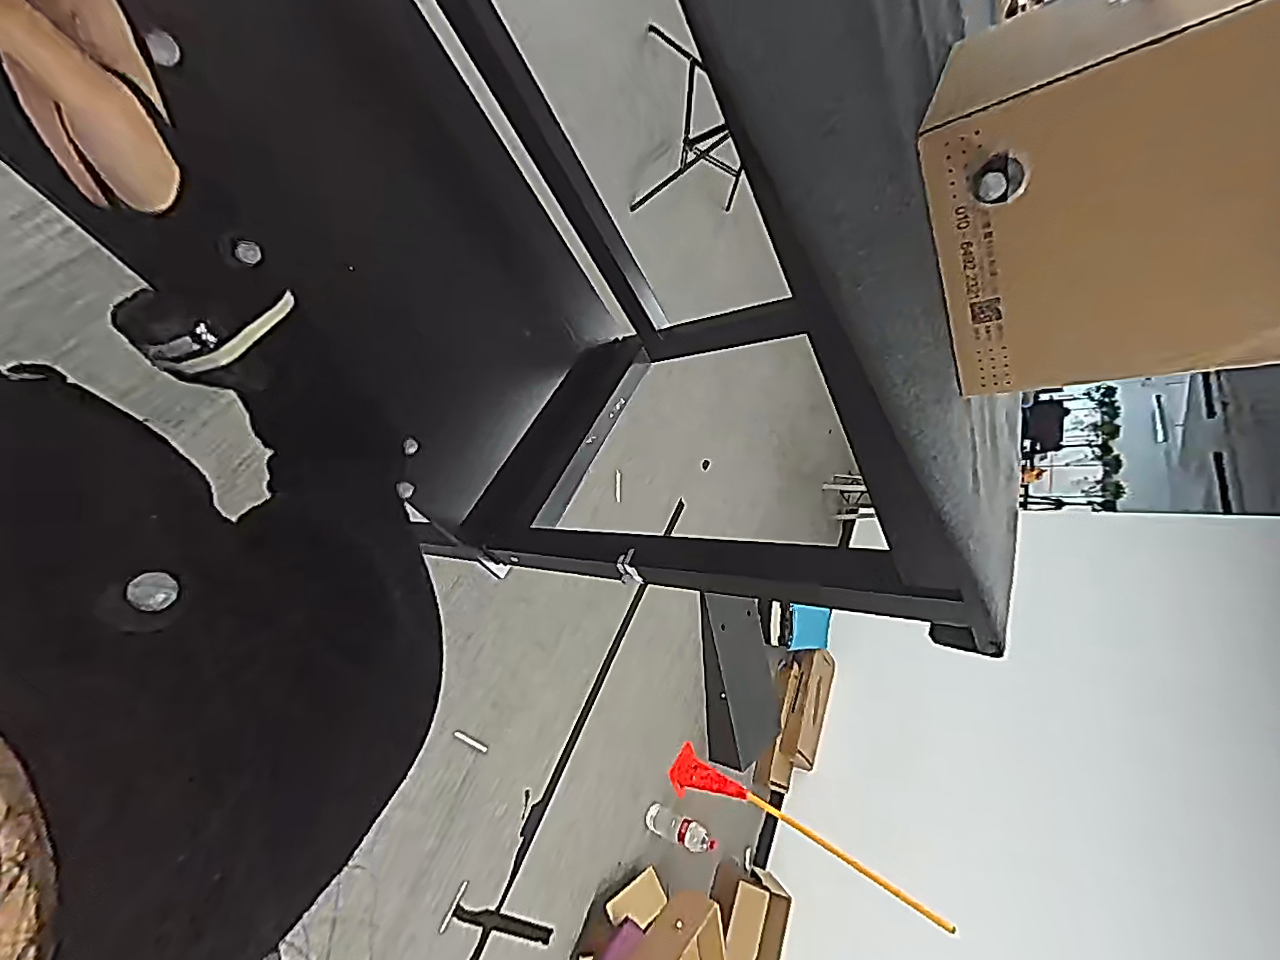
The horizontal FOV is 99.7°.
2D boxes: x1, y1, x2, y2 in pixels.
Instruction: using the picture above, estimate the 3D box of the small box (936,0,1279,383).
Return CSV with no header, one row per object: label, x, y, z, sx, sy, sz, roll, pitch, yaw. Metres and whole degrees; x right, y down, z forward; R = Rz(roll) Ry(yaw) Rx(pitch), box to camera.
small box,0.278,-0.175,0.308,0.168,0.176,0.179,57,47,-33
